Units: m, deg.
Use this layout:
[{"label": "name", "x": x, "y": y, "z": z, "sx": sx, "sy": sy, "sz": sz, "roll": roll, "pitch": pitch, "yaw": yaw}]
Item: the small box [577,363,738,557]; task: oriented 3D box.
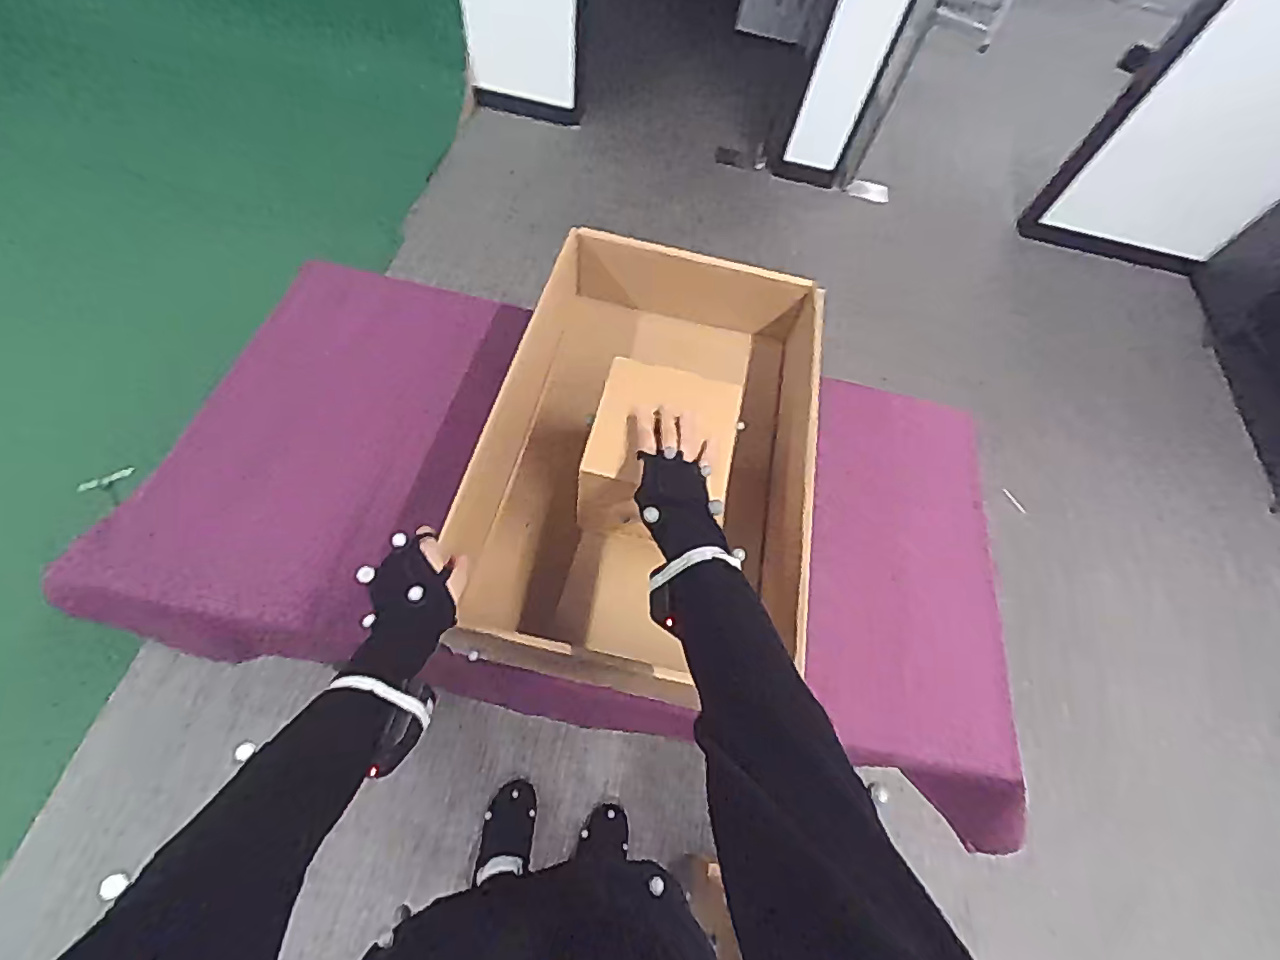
[{"label": "small box", "x": 0.019, "y": -0.018, "z": 0.708, "sx": 0.168, "sy": 0.176, "sz": 0.179, "roll": 13, "pitch": 59, "yaw": 0}]

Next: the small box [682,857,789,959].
[{"label": "small box", "x": 0.195, "y": 0.903, "z": 1.123, "sx": 0.179, "sy": 0.176, "sz": 0.168, "roll": 11, "pitch": 61, "yaw": -1}]
